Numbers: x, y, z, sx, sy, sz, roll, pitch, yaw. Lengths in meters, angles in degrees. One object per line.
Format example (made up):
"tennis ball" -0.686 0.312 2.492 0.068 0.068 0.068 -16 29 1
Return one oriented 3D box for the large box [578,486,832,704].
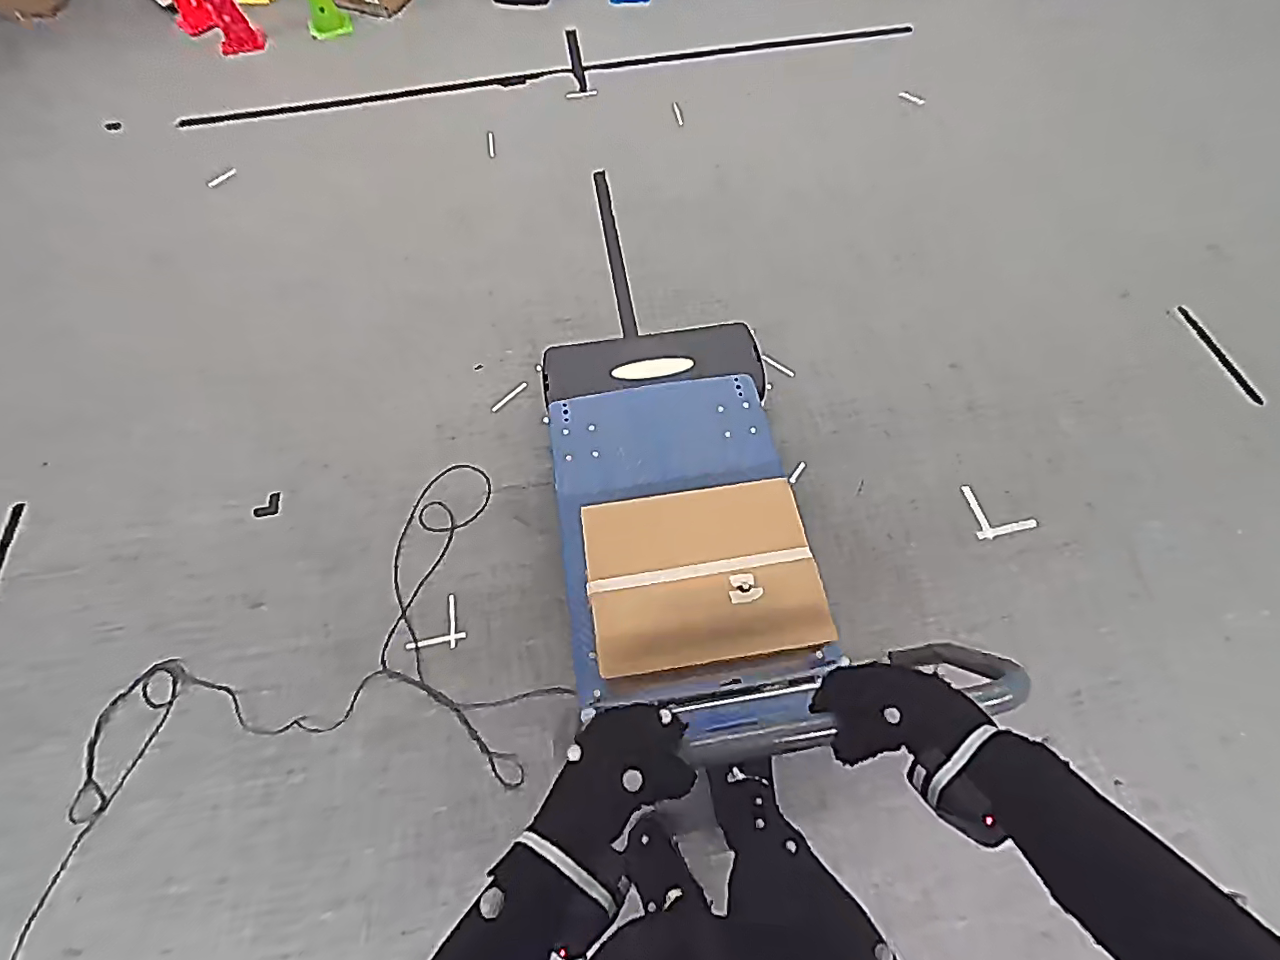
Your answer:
"large box" 0.104 0.242 1.088 0.408 0.320 0.320 -8 64 -4
